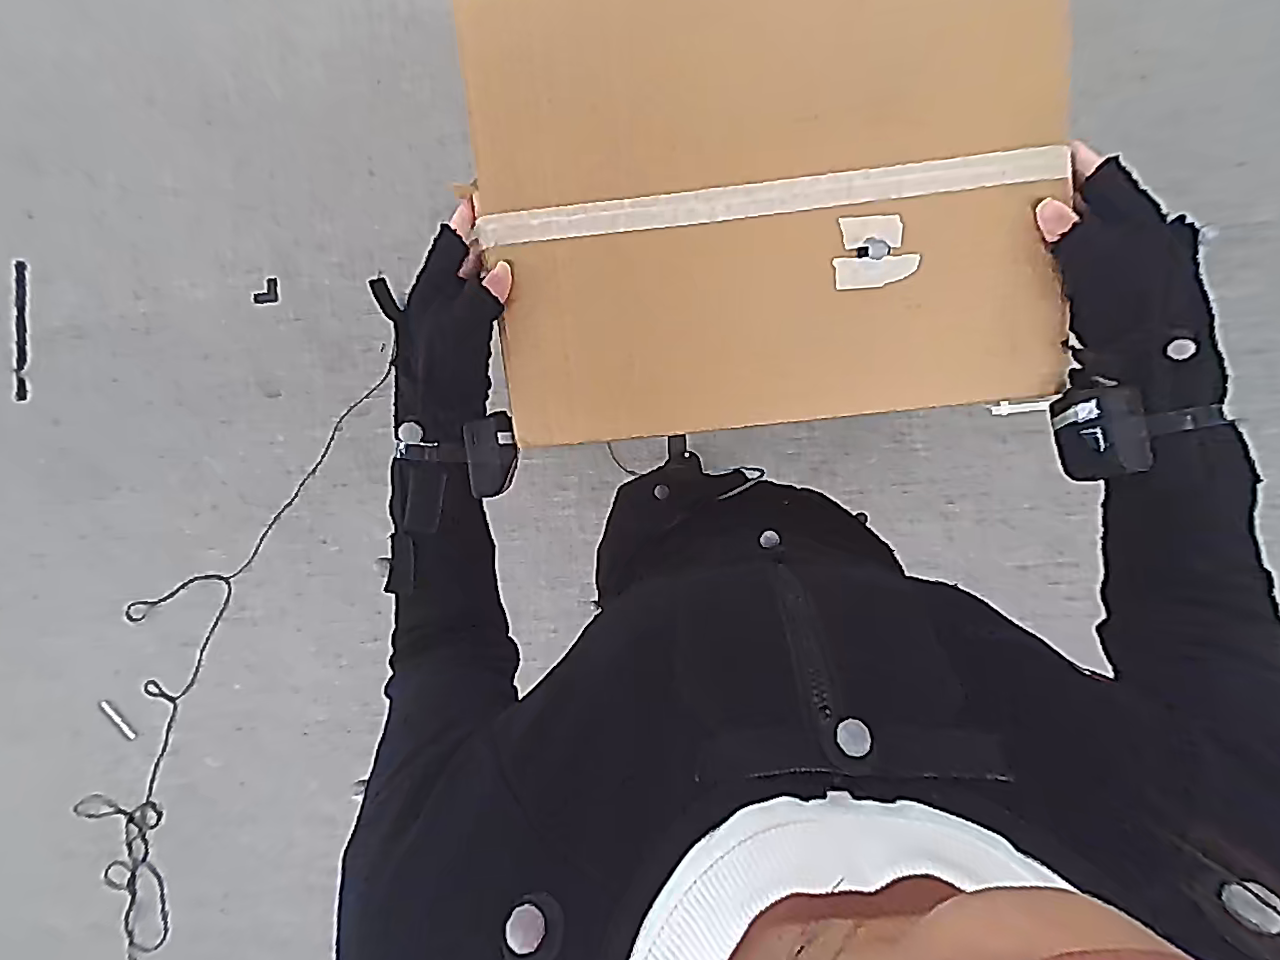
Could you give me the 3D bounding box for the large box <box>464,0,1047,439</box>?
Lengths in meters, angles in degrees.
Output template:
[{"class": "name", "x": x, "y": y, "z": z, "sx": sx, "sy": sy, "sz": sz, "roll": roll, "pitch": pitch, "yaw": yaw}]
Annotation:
[{"class": "large box", "x": 0.090, "y": -0.228, "z": 0.537, "sx": 0.408, "sy": 0.320, "sz": 0.320, "roll": -6, "pitch": 100, "yaw": 1}]
